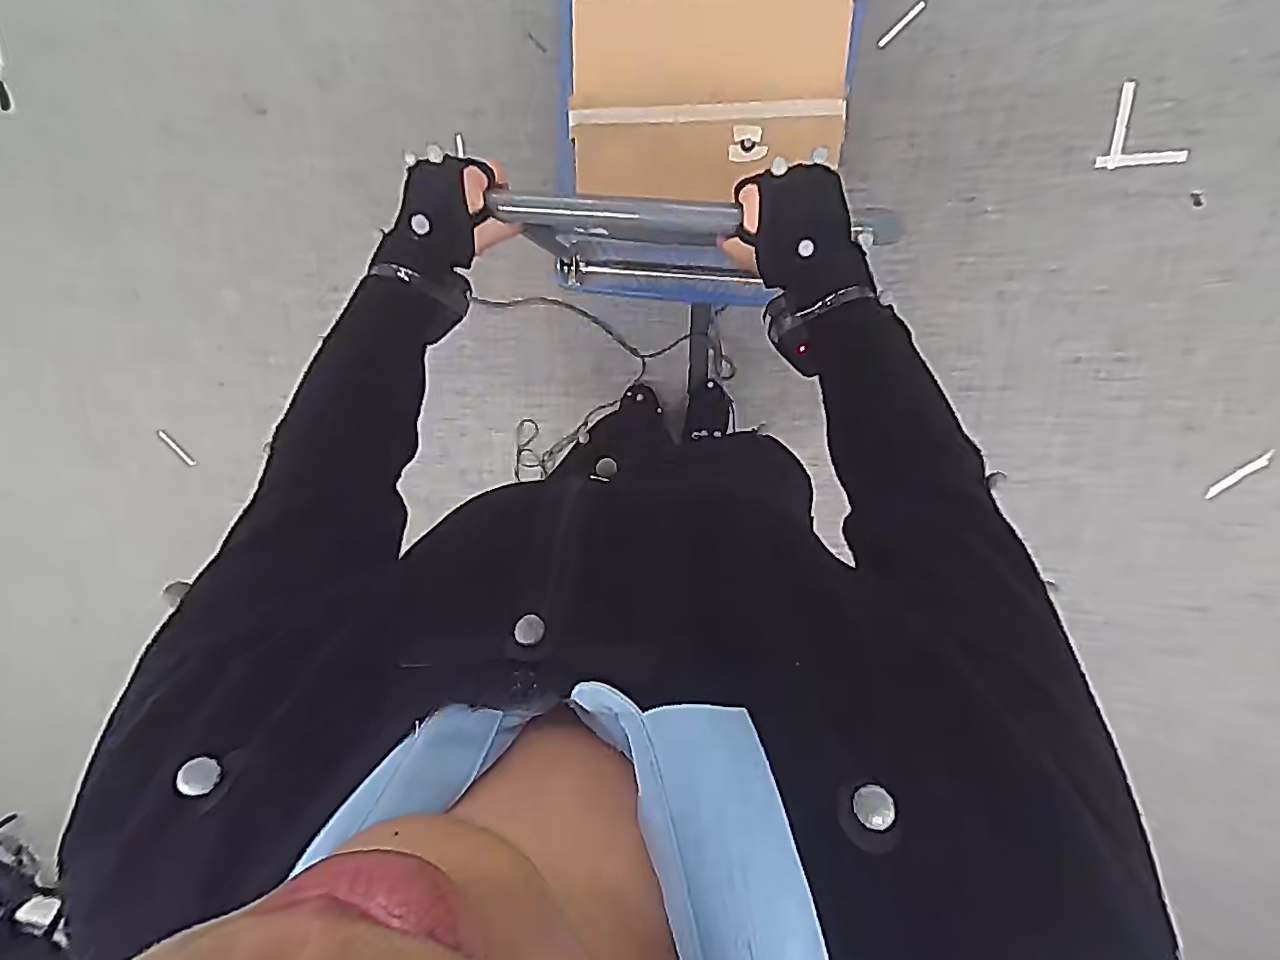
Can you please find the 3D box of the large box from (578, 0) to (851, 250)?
[{"bbox_3d":[0.119,-0.601,0.970,0.408,0.320,0.320,2,108,6],"label":"large box"}]
